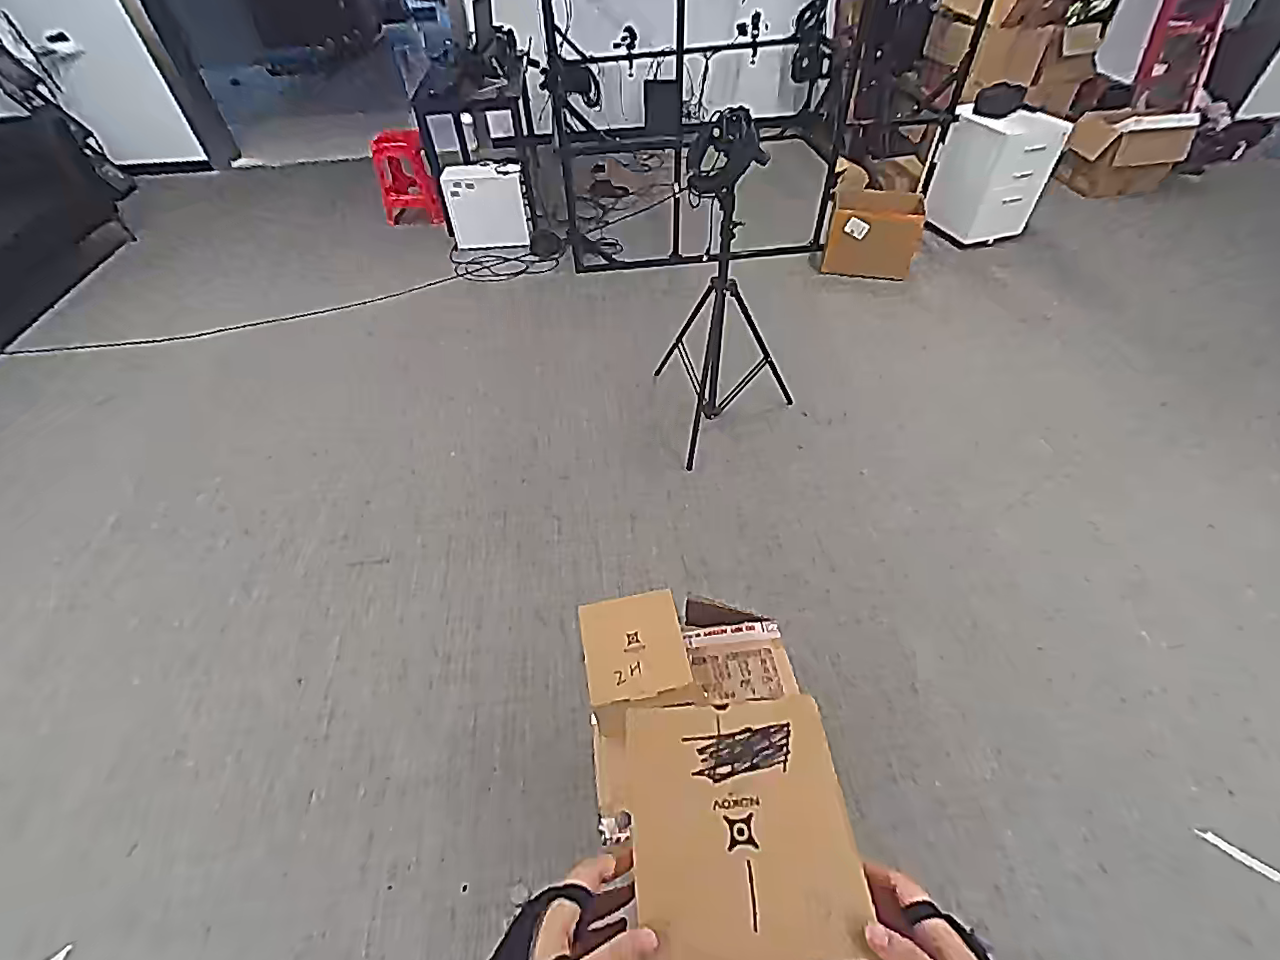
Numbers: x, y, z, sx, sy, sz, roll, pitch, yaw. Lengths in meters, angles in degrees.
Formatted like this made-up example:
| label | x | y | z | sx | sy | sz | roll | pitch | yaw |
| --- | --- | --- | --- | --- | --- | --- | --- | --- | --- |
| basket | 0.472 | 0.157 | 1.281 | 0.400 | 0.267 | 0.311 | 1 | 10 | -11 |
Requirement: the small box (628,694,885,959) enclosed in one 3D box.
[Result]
| label | x | y | z | sx | sy | sz | roll | pitch | yaw |
| --- | --- | --- | --- | --- | --- | --- | --- | --- | --- |
| small box | 0.075 | 0.306 | 0.467 | 0.168 | 0.176 | 0.179 | -3 | 48 | -3 |

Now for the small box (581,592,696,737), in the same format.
| label | x | y | z | sx | sy | sz | roll | pitch | yaw |
| --- | --- | --- | --- | --- | --- | --- | --- | --- | --- |
| small box | -0.004 | 0.324 | 0.947 | 0.168 | 0.176 | 0.179 | -11 | 51 | -4 |
